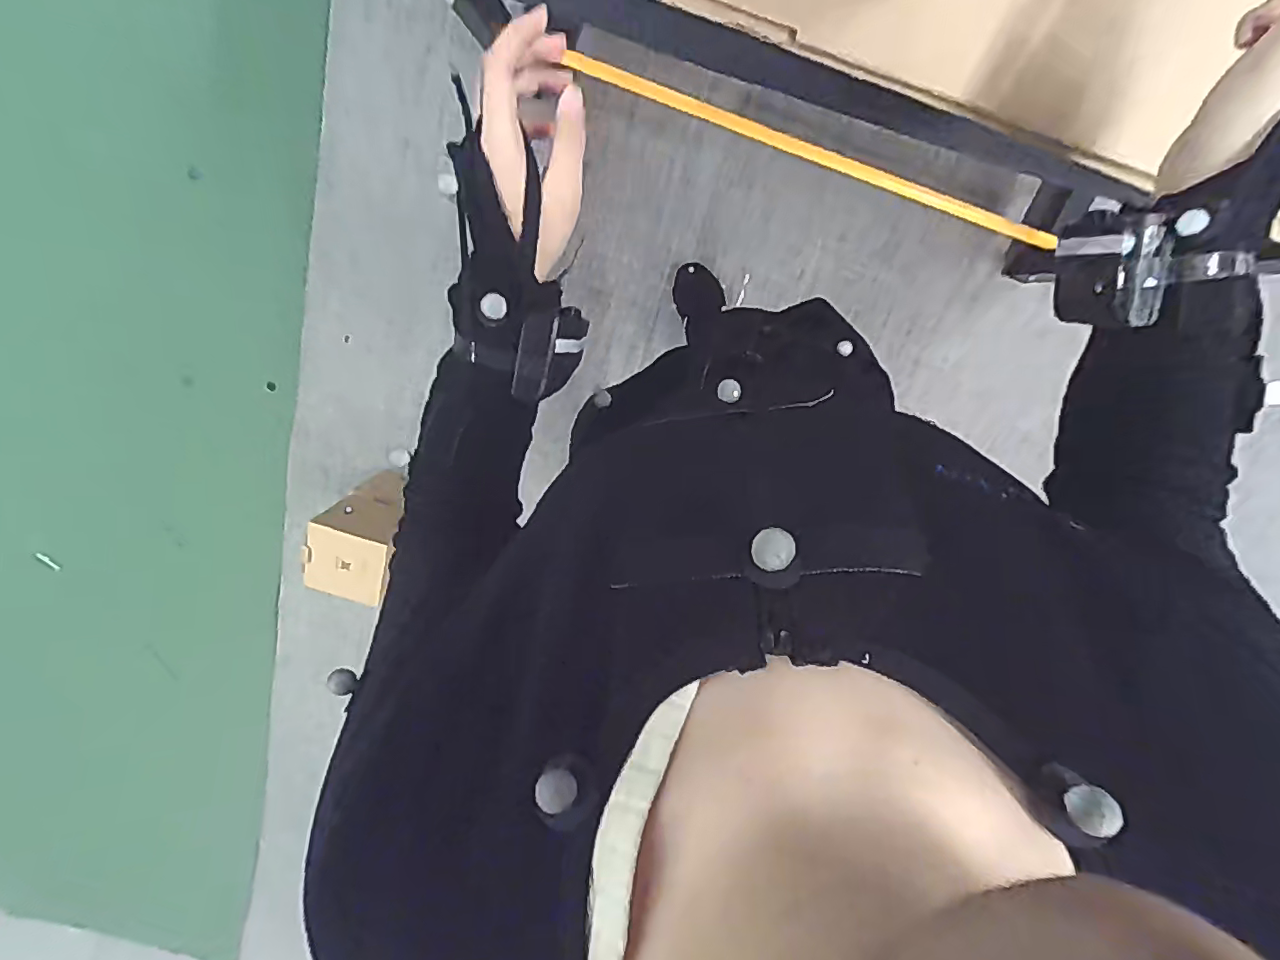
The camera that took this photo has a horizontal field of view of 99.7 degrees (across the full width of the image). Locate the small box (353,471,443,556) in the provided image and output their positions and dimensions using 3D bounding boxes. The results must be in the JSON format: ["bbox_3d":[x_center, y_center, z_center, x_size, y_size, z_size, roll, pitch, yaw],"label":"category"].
[{"bbox_3d":[-0.628,0.096,1.392,0.168,0.176,0.179,20,110,-3],"label":"small box"}]

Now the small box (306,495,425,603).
[{"bbox_3d":[-0.623,0.150,1.238,0.179,0.176,0.168,17,111,-3],"label":"small box"}]
